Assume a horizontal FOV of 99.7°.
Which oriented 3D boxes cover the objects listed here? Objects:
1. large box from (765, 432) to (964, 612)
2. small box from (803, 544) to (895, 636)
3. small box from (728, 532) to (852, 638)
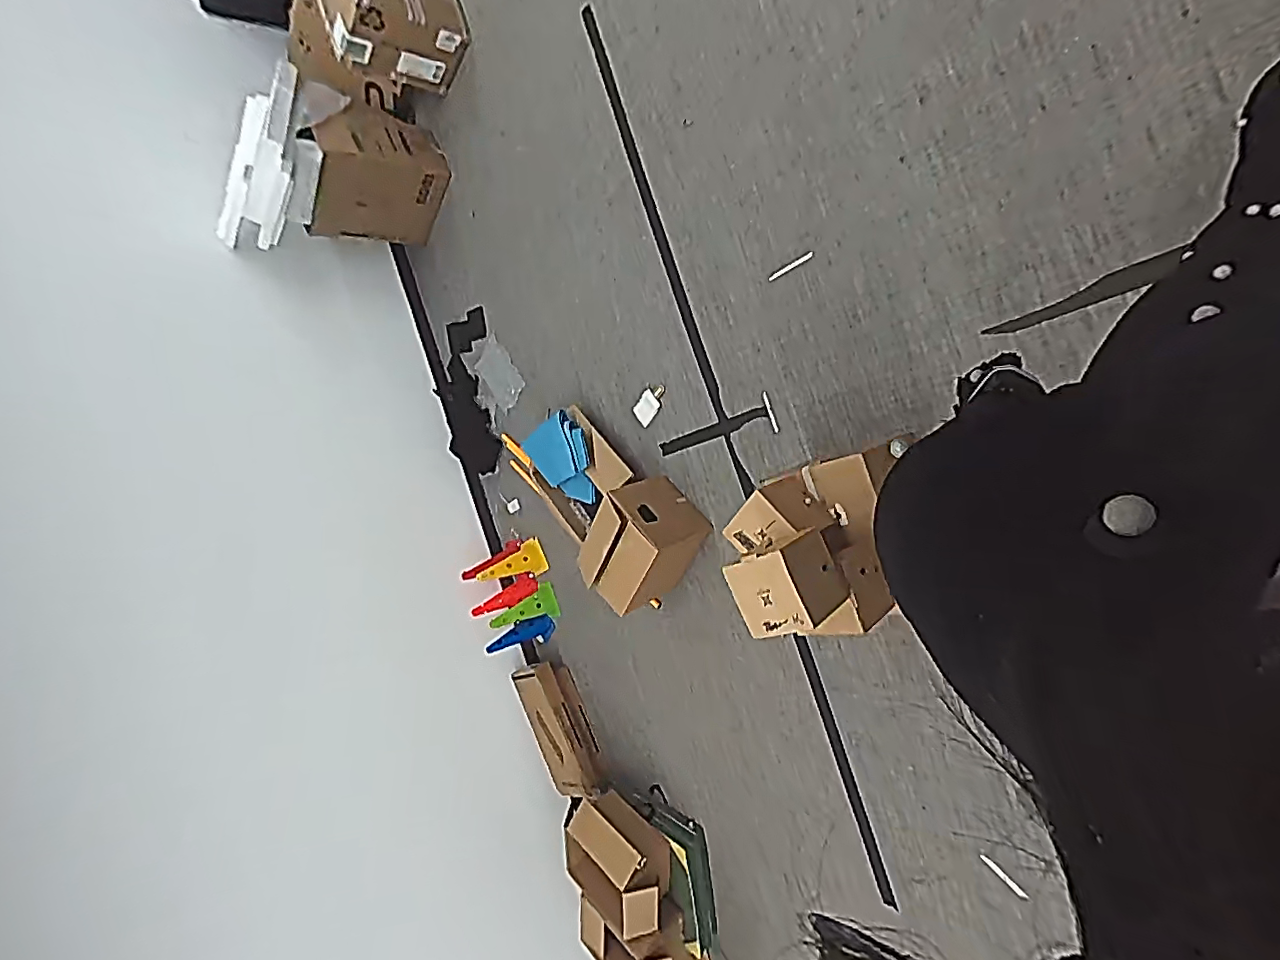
[{"bbox_3d":[0.609,0.122,1.470,0.320,0.320,0.408,-22,86,48],"label":"large box"},{"bbox_3d":[0.481,0.261,1.289,0.179,0.176,0.168,-22,84,50],"label":"small box"},{"bbox_3d":[0.332,0.225,1.190,0.168,0.176,0.179,-29,82,47],"label":"small box"}]
